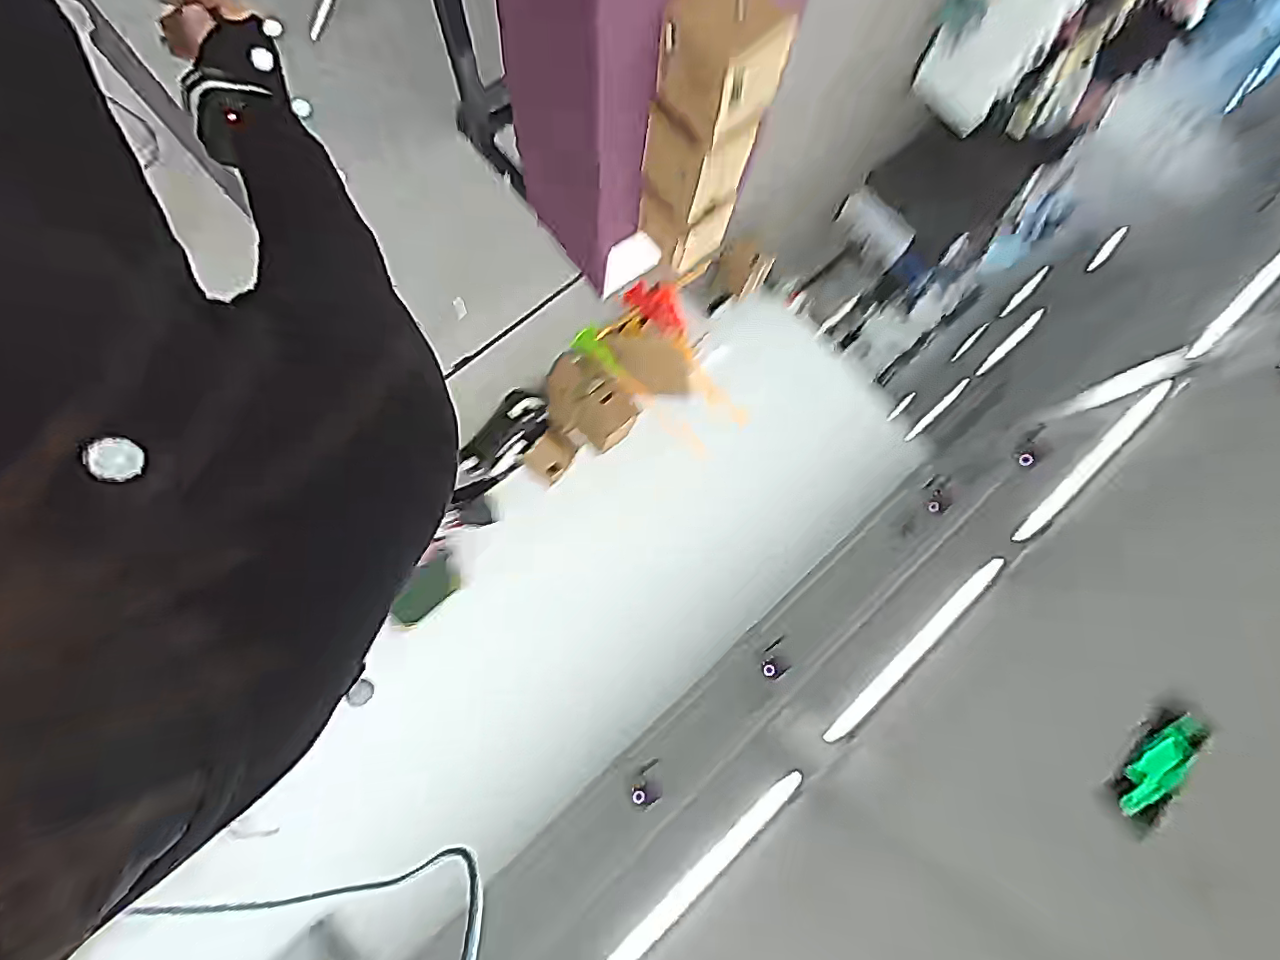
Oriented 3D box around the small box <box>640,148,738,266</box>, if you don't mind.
[{"bbox_3d":[0.118,-0.705,1.402,0.179,0.176,0.168,-42,174,-12],"label":"small box"}]
